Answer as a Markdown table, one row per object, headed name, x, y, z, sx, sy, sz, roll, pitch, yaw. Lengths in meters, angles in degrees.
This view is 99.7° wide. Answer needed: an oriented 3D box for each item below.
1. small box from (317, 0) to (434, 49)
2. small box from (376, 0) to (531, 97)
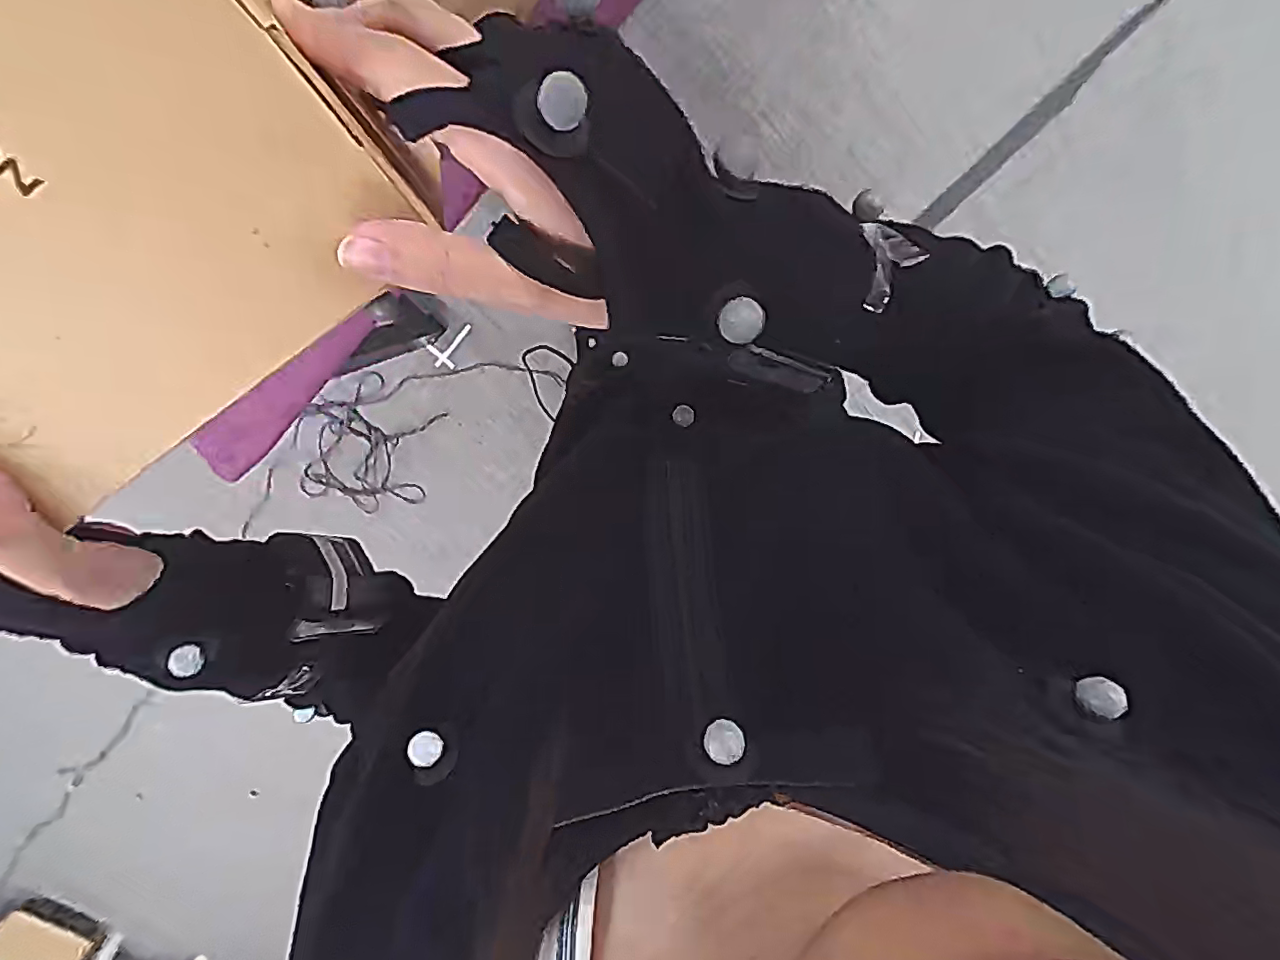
| name | x | y | z | sx | sy | sz | roll | pitch | yaw |
| --- | --- | --- | --- | --- | --- | --- | --- | --- | --- |
| small box | -0.178 | -0.383 | 0.278 | 0.168 | 0.176 | 0.179 | 43 | 105 | -15 |
| small box | -0.192 | -0.449 | 0.429 | 0.179 | 0.176 | 0.168 | 41 | 105 | -13 |
